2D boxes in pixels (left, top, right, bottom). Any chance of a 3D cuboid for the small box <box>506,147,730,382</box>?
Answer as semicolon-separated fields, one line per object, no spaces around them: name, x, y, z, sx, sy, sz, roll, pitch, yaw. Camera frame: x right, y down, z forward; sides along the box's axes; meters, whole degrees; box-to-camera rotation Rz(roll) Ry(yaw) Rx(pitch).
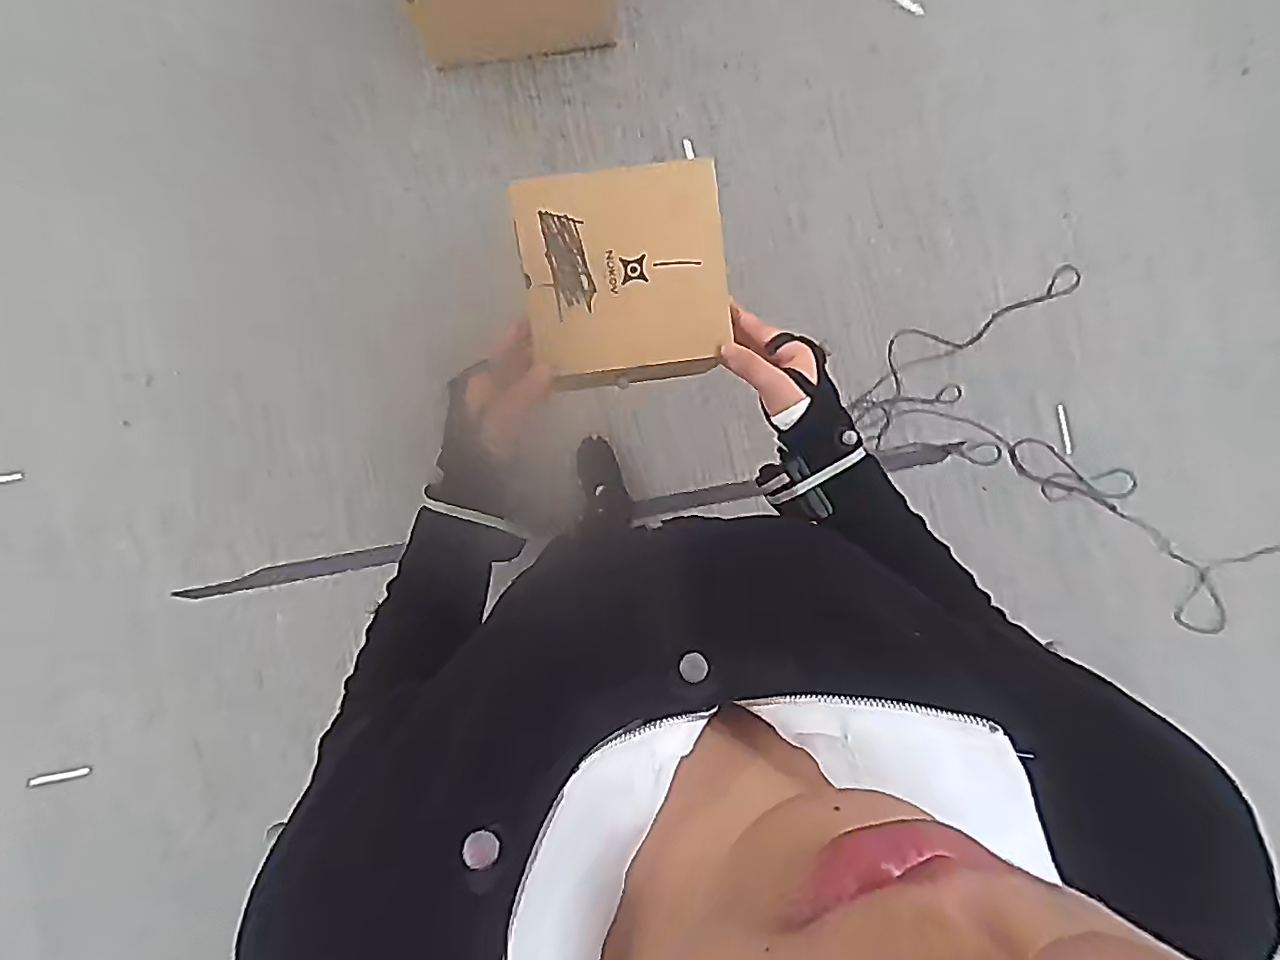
small box;-0.019;-0.195;0.537;0.179;0.176;0.168;-8;96;-2
